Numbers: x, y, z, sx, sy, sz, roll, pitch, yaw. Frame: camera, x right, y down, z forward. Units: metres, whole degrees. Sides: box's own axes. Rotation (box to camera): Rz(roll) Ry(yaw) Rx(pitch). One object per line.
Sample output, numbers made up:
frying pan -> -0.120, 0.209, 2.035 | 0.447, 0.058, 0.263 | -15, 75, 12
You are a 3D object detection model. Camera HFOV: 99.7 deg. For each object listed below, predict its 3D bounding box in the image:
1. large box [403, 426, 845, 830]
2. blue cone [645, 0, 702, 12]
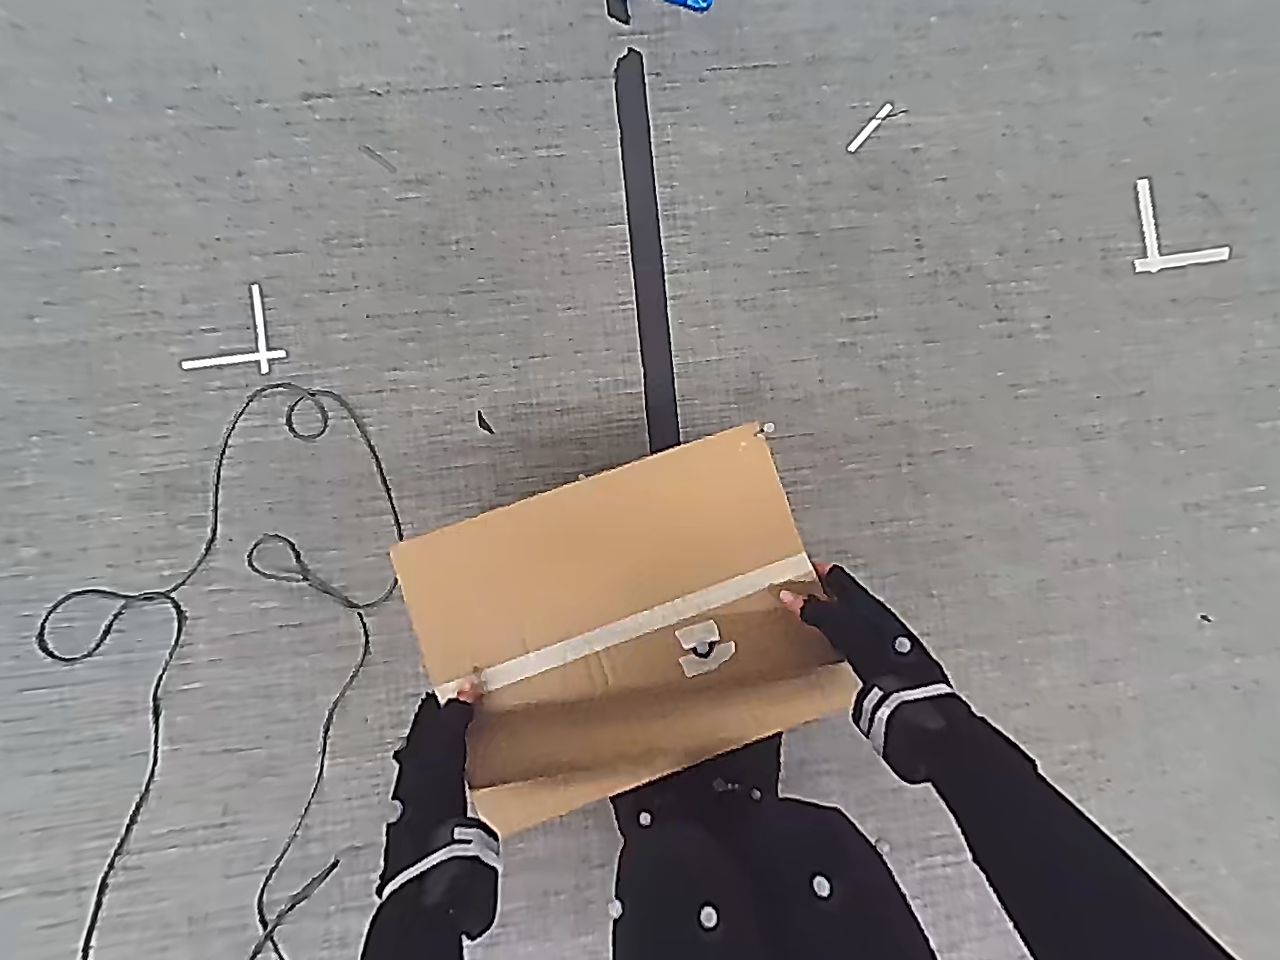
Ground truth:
large box -> -0.022, 0.162, 0.719 | 0.408, 0.320, 0.320 | -19, 88, -4
blue cone -> 0.039, -0.874, 0.721 | 0.193, 0.380, 0.192 | 14, 88, -3
